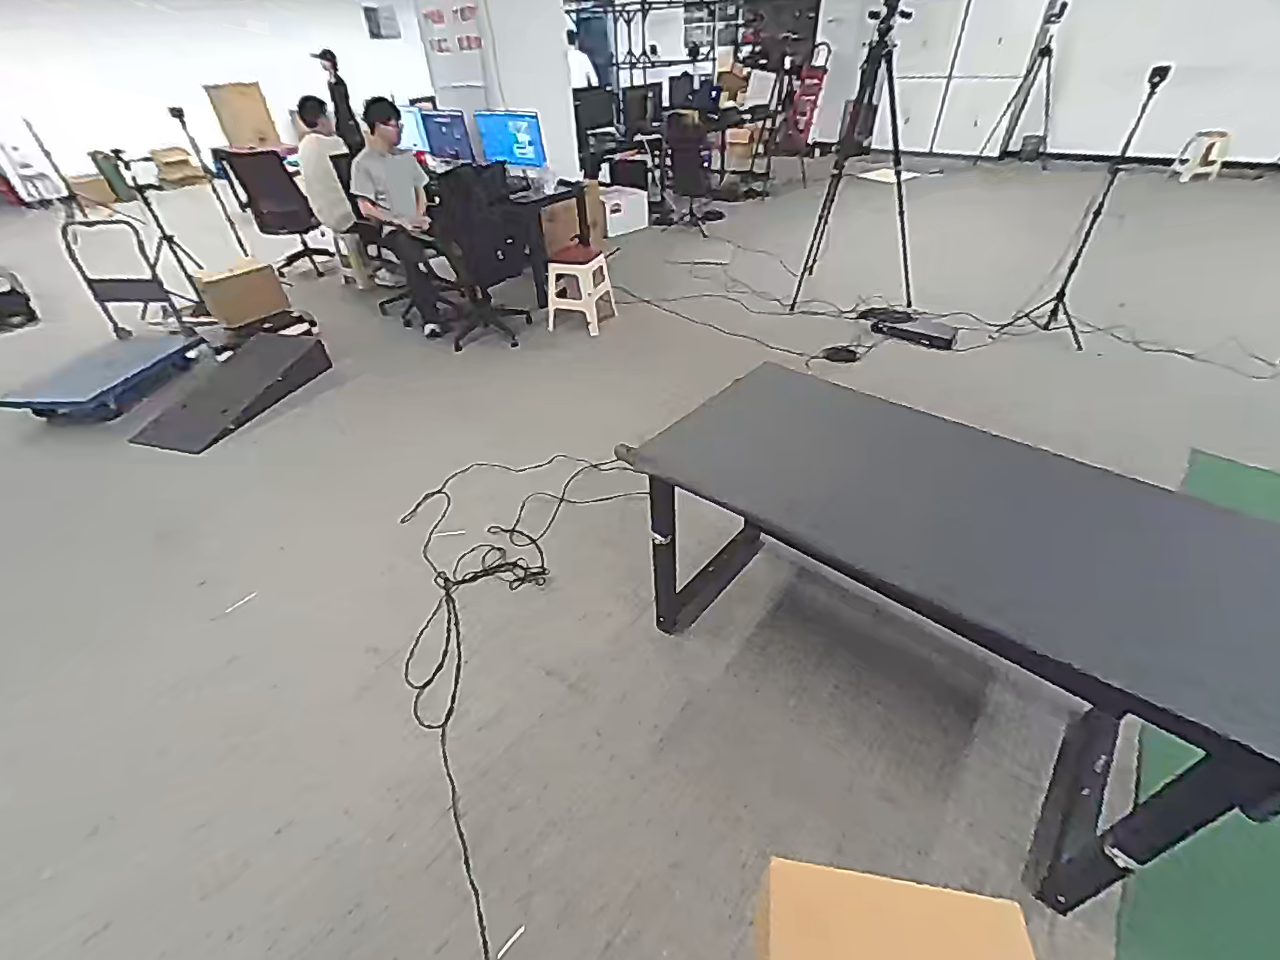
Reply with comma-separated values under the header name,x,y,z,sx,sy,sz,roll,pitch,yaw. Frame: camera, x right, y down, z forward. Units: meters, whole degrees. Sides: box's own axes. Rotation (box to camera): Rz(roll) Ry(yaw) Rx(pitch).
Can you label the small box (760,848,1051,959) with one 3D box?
name,x,y,z,sx,sy,sz,roll,pitch,yaw
small box,0.169,0.389,0.363,0.168,0.176,0.179,5,42,11
